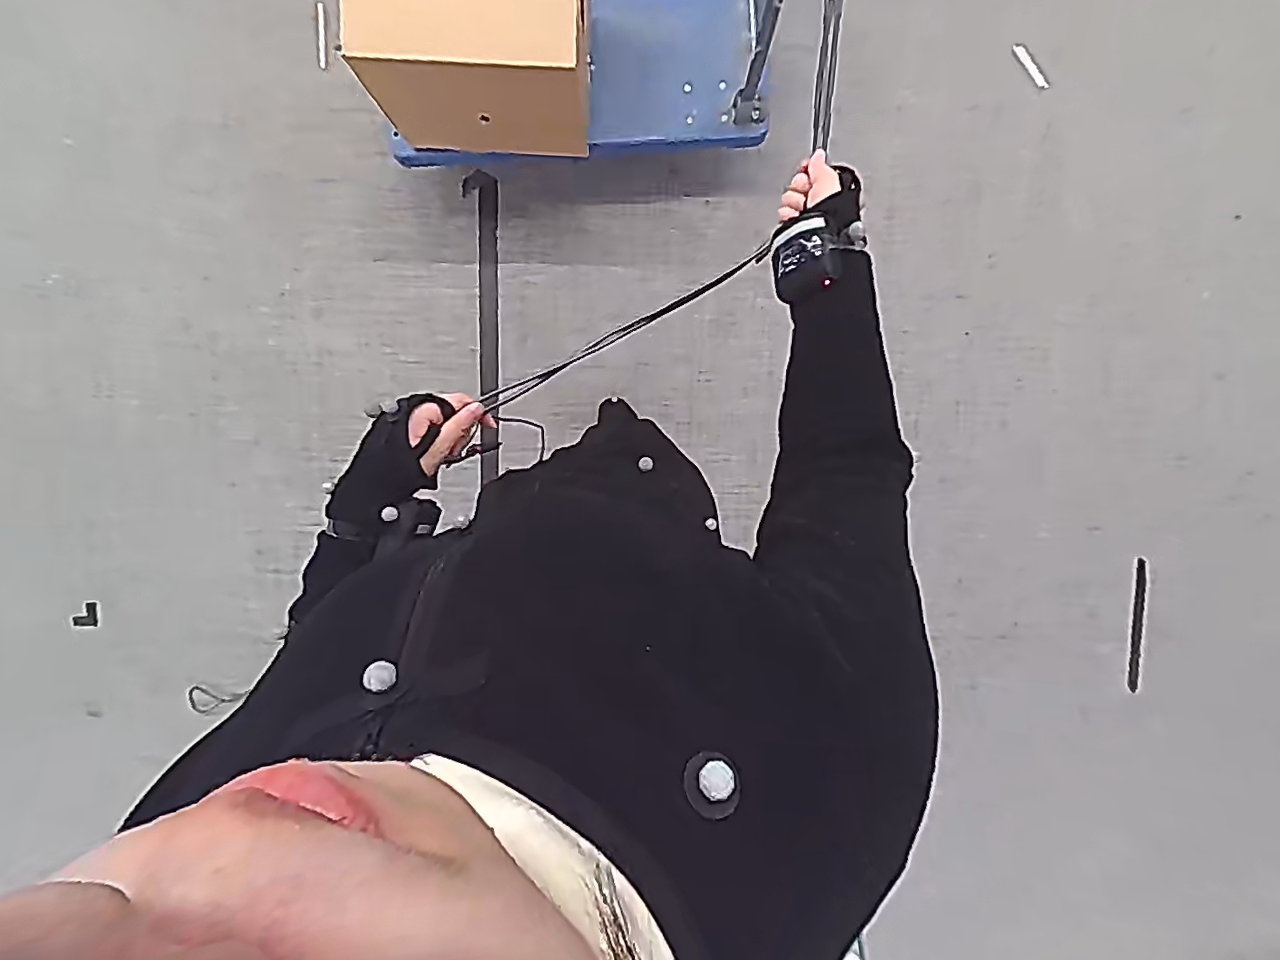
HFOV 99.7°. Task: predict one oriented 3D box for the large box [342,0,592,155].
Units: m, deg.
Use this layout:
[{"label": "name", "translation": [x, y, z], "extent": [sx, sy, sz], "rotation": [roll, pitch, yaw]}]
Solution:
[{"label": "large box", "translation": [-0.303, -0.871, 1.057], "extent": [0.408, 0.320, 0.320], "rotation": [2, 95, -1]}]
